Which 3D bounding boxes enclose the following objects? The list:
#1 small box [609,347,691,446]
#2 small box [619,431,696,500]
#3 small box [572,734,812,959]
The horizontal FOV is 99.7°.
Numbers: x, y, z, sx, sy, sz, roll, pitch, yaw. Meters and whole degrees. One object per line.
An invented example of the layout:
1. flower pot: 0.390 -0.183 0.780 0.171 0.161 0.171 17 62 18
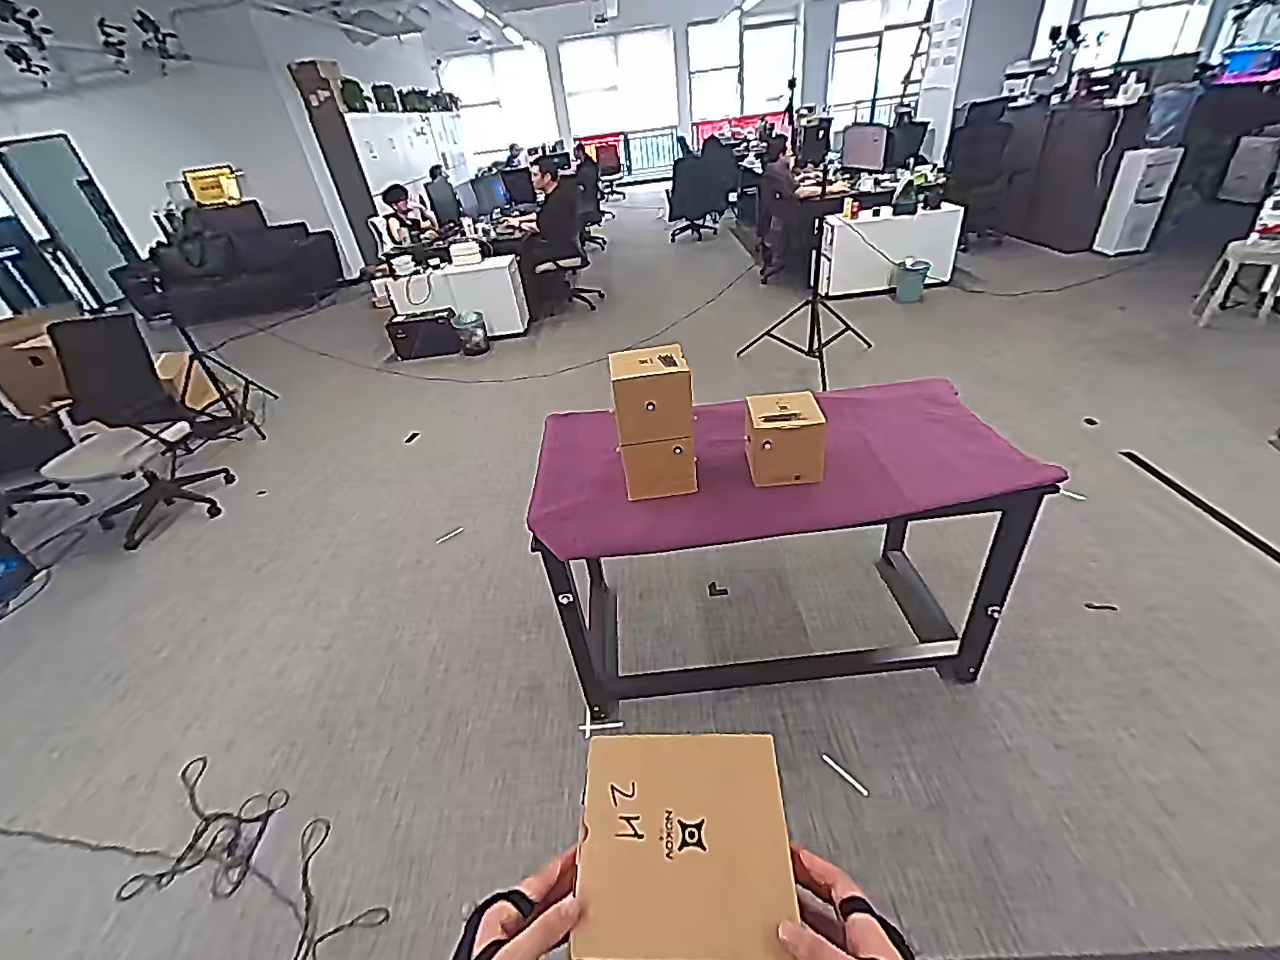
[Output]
1. small box: 0.025 -0.197 1.284 0.179 0.176 0.168 -8 34 -1
2. small box: 0.041 -0.065 1.380 0.179 0.176 0.168 -8 34 -1
3. small box: 0.047 0.355 0.501 0.179 0.176 0.168 -3 39 5
